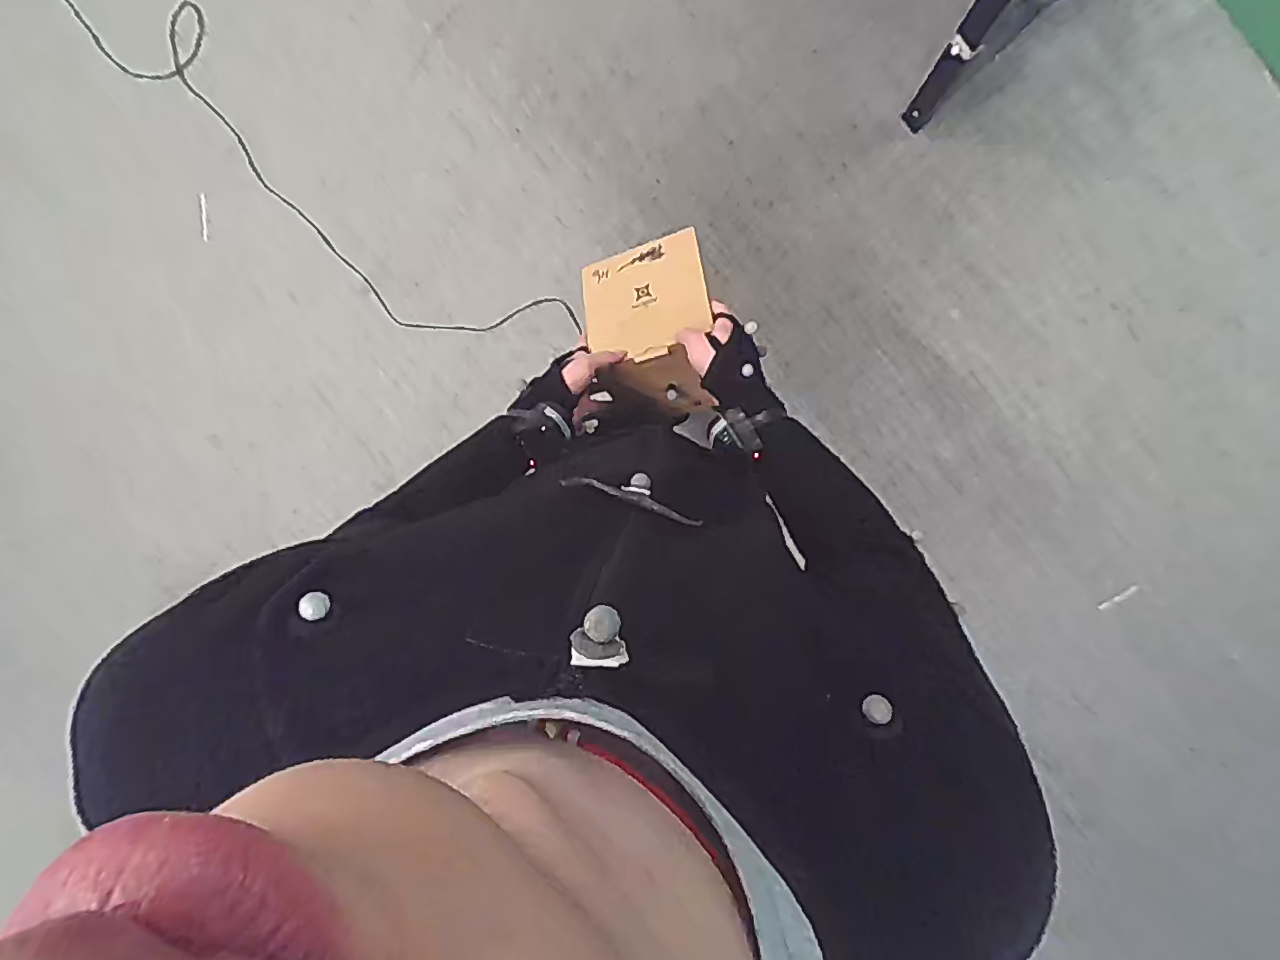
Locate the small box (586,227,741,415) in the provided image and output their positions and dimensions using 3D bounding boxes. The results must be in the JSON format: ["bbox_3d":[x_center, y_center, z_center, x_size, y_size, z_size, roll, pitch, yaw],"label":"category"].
[{"bbox_3d":[0.037,-0.208,0.768,0.168,0.176,0.179,-14,66,16],"label":"small box"}]
